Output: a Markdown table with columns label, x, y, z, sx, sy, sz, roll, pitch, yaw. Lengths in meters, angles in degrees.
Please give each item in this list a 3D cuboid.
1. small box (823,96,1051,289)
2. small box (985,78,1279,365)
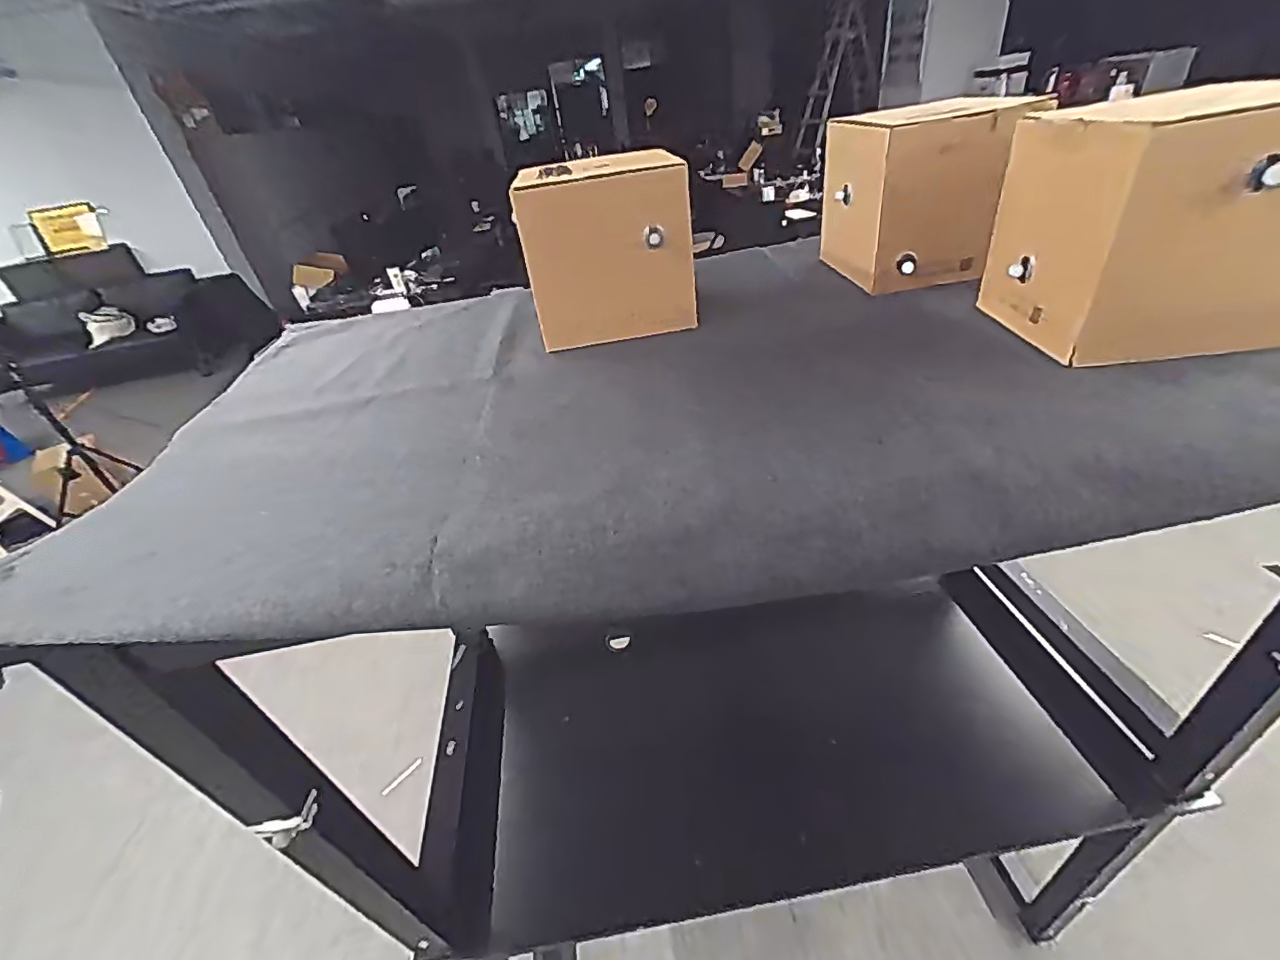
| label | x | y | z | sx | sy | sz | roll | pitch | yaw |
| --- | --- | --- | --- | --- | --- | --- | --- | --- | --- |
| small box | 0.327 | -0.335 | 0.638 | 0.168 | 0.176 | 0.179 | -9 | 34 | 1 |
| small box | 0.416 | -0.206 | 0.433 | 0.179 | 0.176 | 0.168 | -5 | 34 | 8 |
